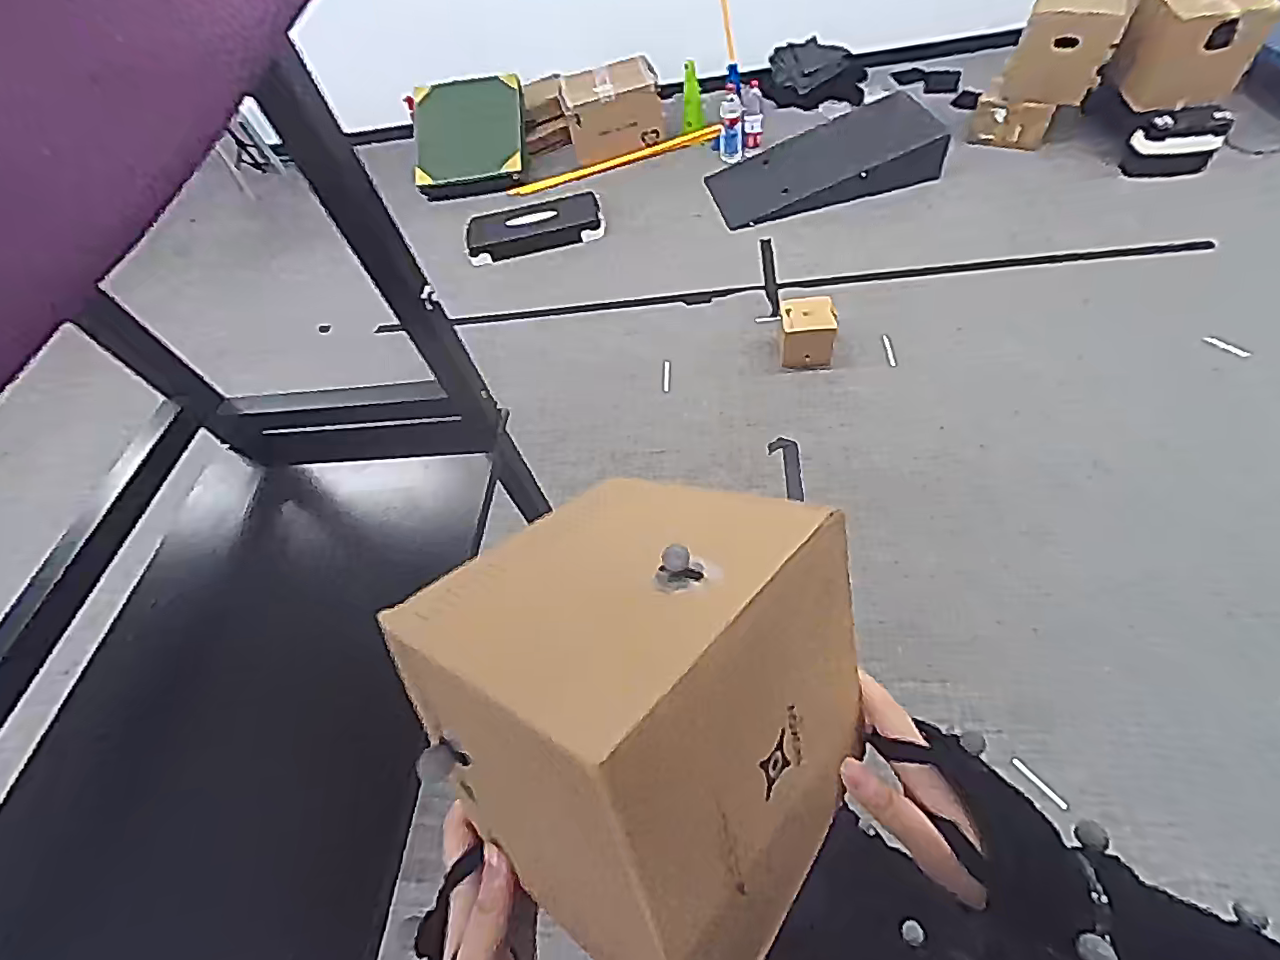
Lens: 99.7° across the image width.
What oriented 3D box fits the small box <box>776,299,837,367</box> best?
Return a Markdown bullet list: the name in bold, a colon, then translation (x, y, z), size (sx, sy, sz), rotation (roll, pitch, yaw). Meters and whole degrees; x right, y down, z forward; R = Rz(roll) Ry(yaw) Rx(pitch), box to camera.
- **small box**: translation (0.584, -0.518, 1.917), size (0.179, 0.176, 0.168), rotation (-2, 56, 8)
